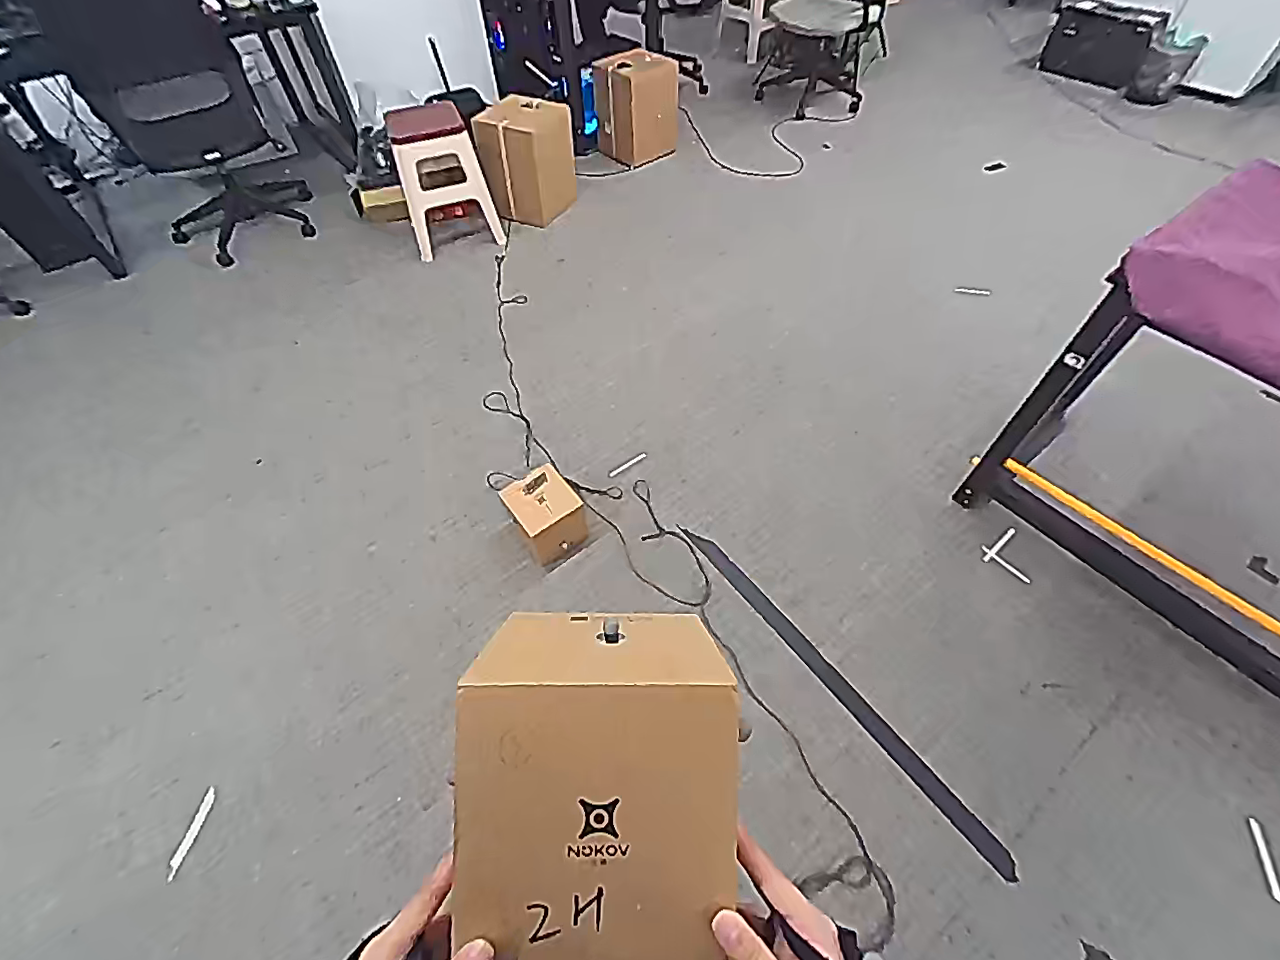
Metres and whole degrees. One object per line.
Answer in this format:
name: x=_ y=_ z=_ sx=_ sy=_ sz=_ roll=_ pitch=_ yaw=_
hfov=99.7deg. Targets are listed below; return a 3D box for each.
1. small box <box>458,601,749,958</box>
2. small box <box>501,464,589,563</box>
small box: x=-0.023 y=0.189 z=0.393 sx=0.168 sy=0.176 sz=0.179 roll=2 pitch=89 yaw=-2
small box: x=-0.257 y=0.095 z=1.491 sx=0.168 sy=0.176 sz=0.179 roll=-33 pitch=61 yaw=-20
